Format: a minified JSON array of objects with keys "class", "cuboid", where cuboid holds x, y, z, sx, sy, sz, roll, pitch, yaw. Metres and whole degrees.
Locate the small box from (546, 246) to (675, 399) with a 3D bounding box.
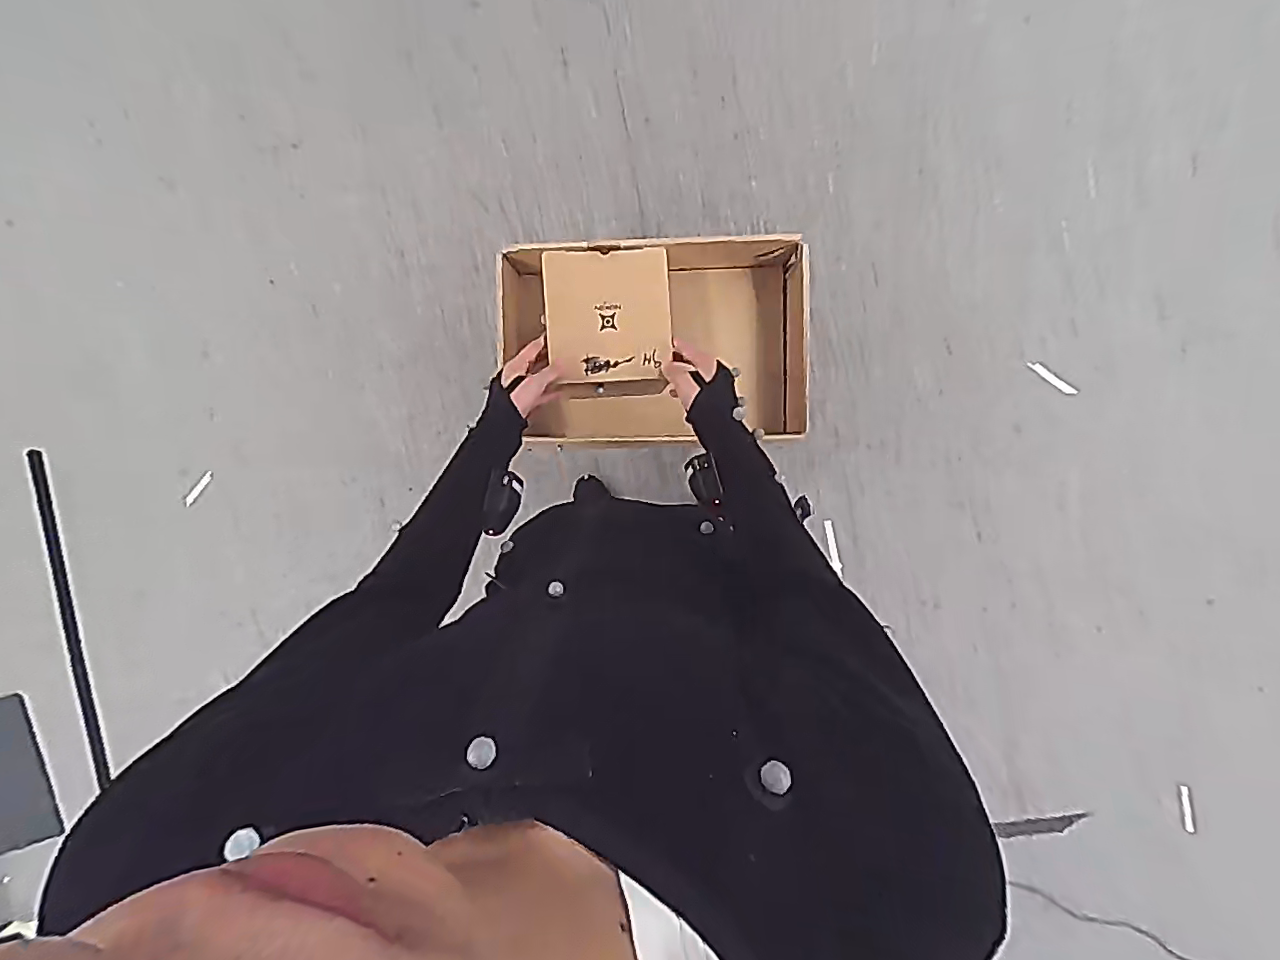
[{"class":"small box","cuboid":[-0.043,-0.218,0.785,0.168,0.176,0.179,-3,91,-3]}]
